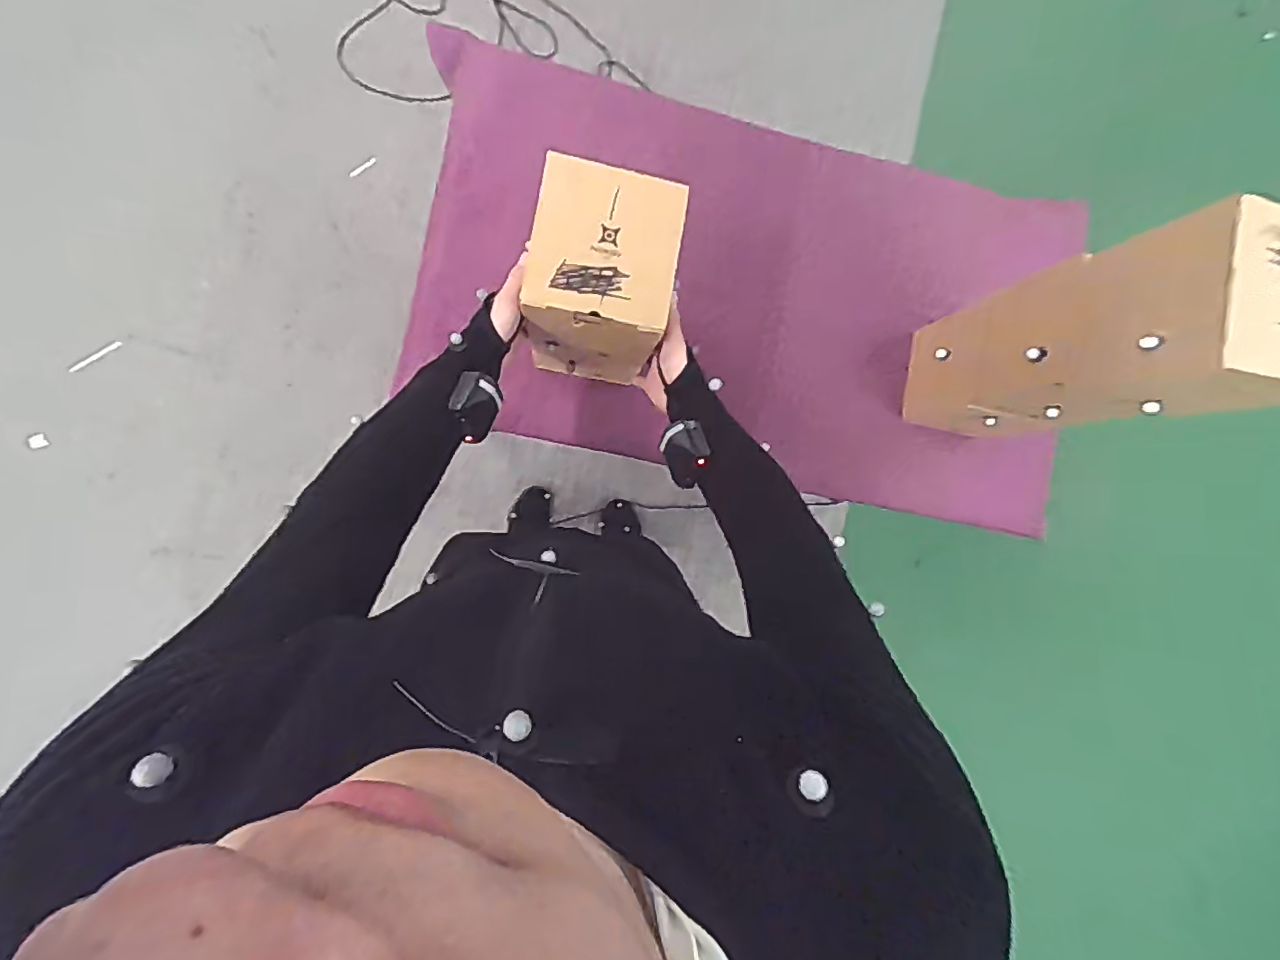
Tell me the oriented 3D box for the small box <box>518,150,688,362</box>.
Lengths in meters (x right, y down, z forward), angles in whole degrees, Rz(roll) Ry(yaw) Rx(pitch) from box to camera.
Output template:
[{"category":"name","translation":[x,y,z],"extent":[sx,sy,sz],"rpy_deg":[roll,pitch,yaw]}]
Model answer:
[{"category":"small box","translation":[-0.049,-0.261,0.677],"extent":[0.168,0.176,0.179],"rpy_deg":[10,87,-7]}]

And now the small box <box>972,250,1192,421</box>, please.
[{"category":"small box","translation":[0.612,-0.189,0.770],"extent":[0.168,0.176,0.179],"rpy_deg":[12,87,-8]}]

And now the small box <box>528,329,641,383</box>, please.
[{"category":"small box","translation":[-0.072,-0.260,0.840],"extent":[0.168,0.176,0.179],"rpy_deg":[10,88,-7]}]

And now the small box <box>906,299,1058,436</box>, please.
[{"category":"small box","translation":[0.589,-0.184,0.934],"extent":[0.168,0.176,0.179],"rpy_deg":[10,87,-7]}]
